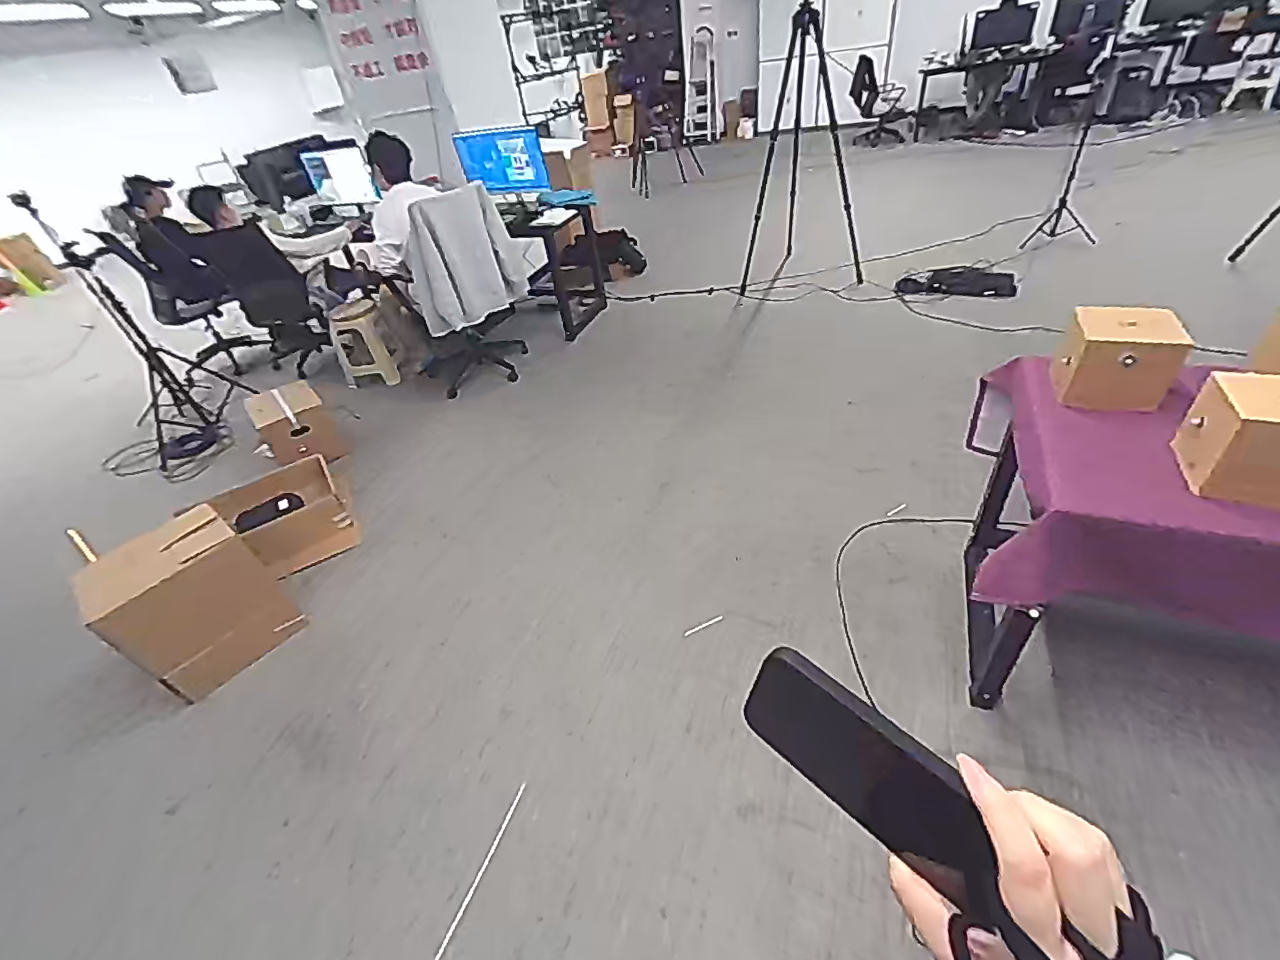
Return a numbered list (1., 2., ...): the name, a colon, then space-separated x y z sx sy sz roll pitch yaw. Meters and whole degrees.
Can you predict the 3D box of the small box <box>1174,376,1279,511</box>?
1. small box: 1.094 -0.064 0.950 0.179 0.176 0.168 11 43 23
